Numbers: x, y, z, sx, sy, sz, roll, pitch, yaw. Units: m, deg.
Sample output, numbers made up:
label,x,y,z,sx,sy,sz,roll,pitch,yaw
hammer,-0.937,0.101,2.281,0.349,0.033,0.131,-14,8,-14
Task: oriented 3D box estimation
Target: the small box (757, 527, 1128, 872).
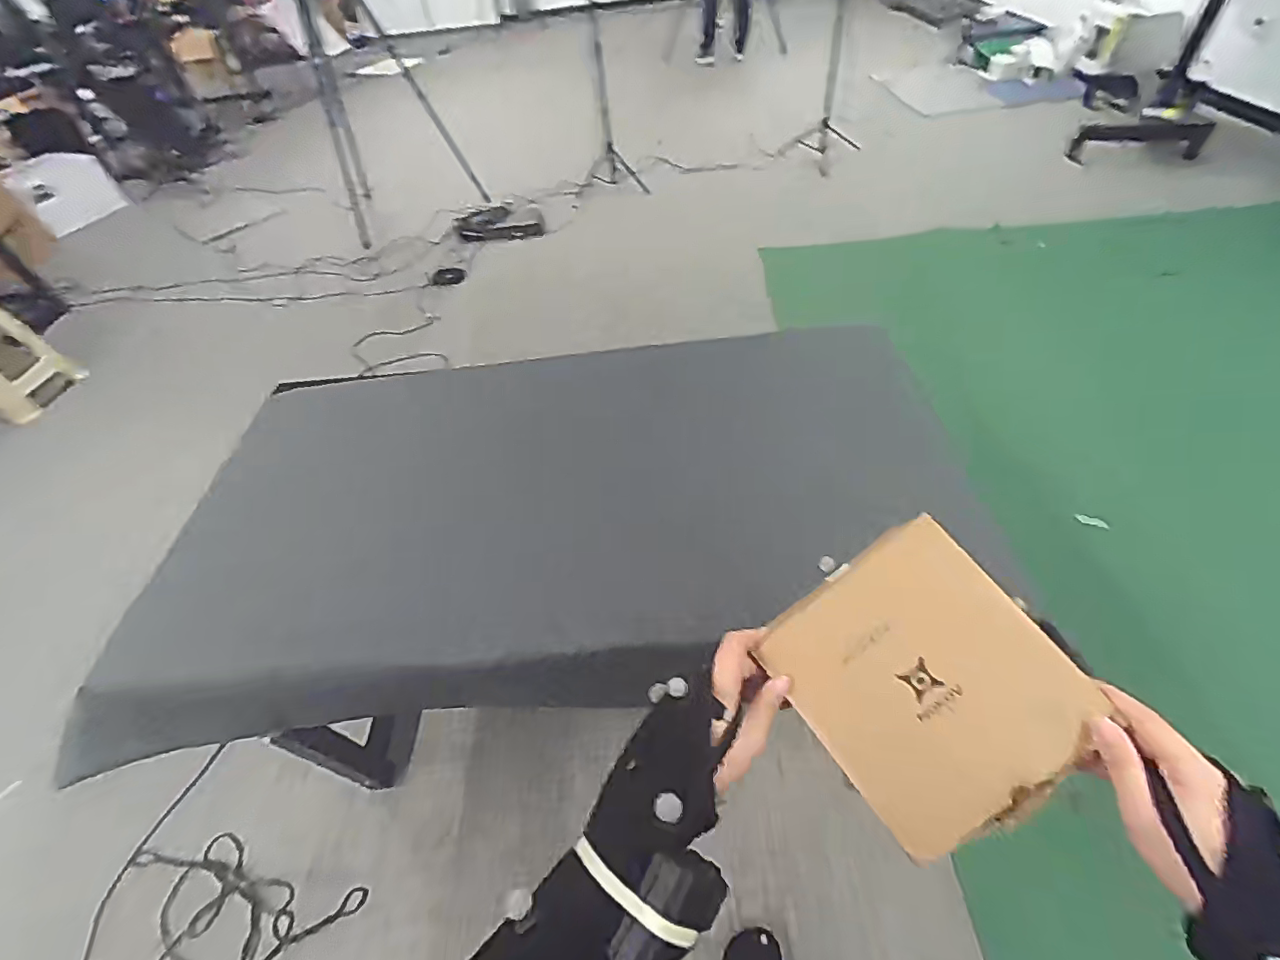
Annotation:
label,x,y,z,sx,sy,sz,roll,pitch,yaw
small box,0.221,0.160,0.450,0.168,0.176,0.179,-41,72,5
